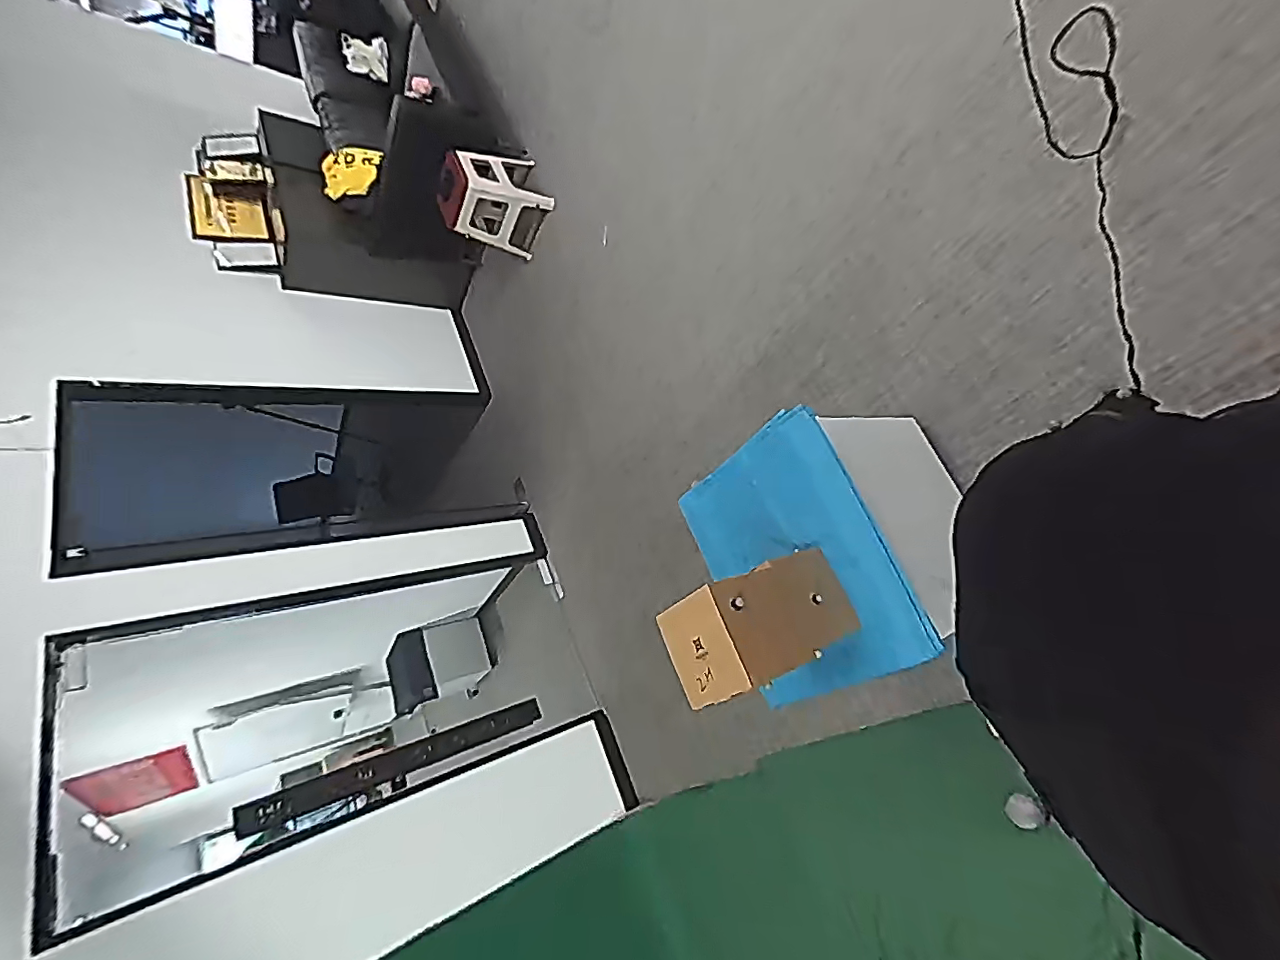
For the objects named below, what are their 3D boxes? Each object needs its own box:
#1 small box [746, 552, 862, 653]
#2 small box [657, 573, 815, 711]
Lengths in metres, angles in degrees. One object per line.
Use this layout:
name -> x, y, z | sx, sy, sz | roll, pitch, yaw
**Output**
small box -> 0.289, 0.252, 1.052 | 0.168, 0.176, 0.179 | -46, 61, 44
small box -> 0.166, 0.274, 0.944 | 0.168, 0.176, 0.179 | -46, 60, 44
